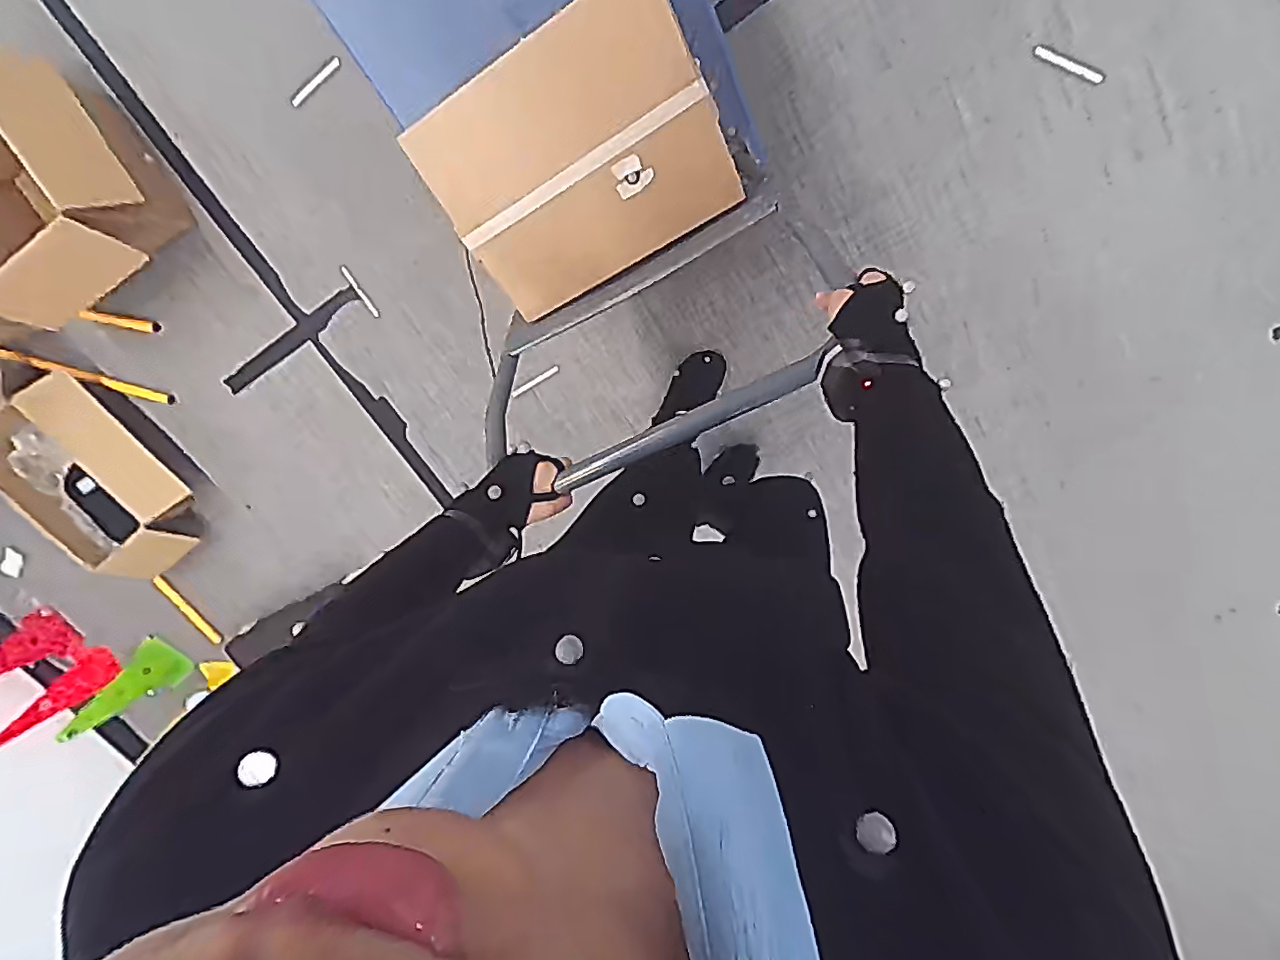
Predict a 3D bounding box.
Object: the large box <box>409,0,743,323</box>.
[{"bbox_3d":[-0.093,-0.541,0.909,0.408,0.320,0.320,-25,125,16],"label":"large box"}]
